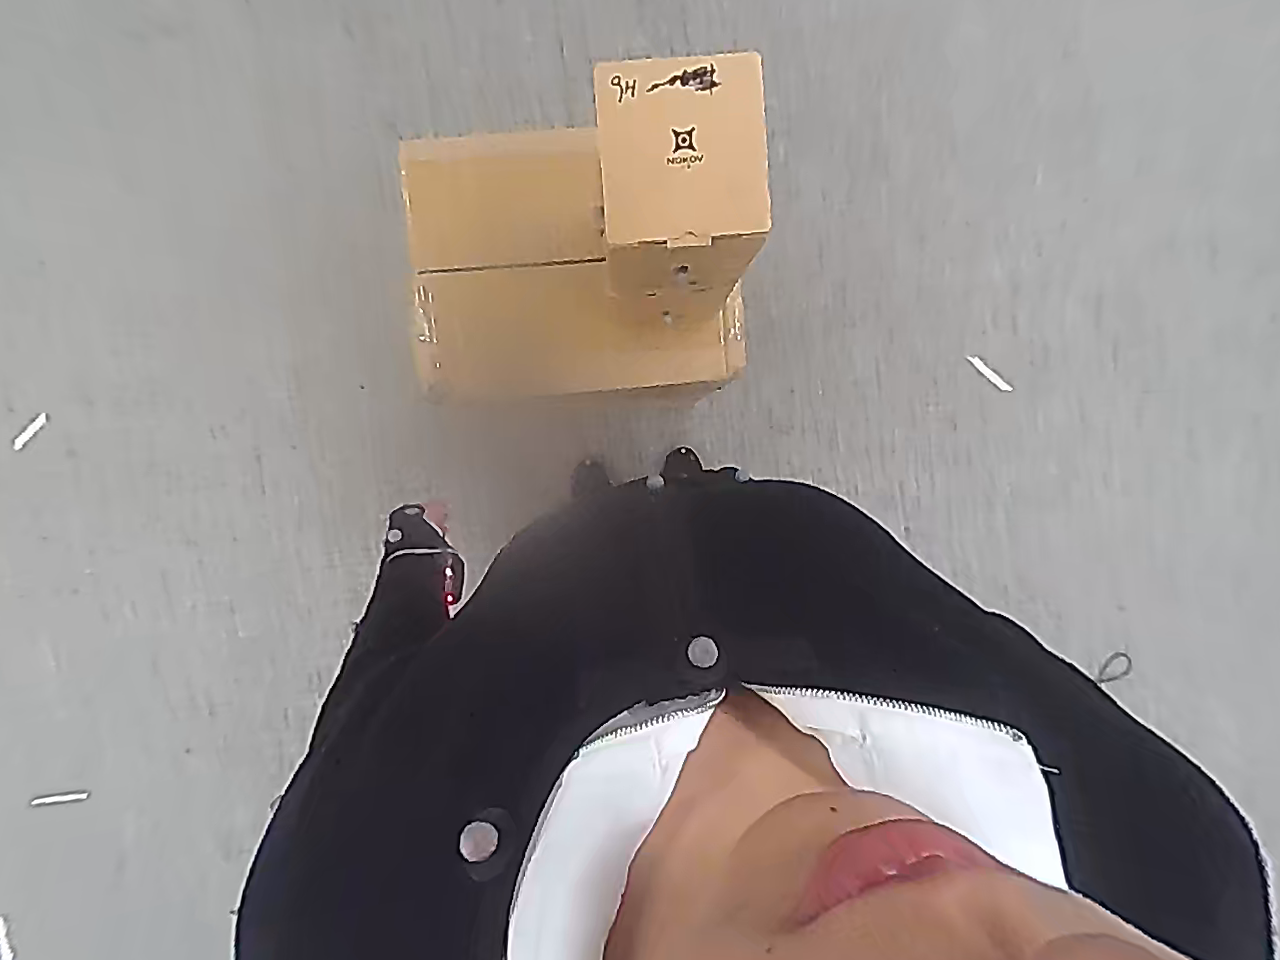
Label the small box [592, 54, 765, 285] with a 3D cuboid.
[{"bbox_3d":[0.039,-0.329,0.611,0.168,0.176,0.179,-4,94,-1],"label":"small box"}]

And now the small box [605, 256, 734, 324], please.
[{"bbox_3d":[0.032,-0.335,0.775,0.168,0.176,0.179,-6,94,0],"label":"small box"}]
